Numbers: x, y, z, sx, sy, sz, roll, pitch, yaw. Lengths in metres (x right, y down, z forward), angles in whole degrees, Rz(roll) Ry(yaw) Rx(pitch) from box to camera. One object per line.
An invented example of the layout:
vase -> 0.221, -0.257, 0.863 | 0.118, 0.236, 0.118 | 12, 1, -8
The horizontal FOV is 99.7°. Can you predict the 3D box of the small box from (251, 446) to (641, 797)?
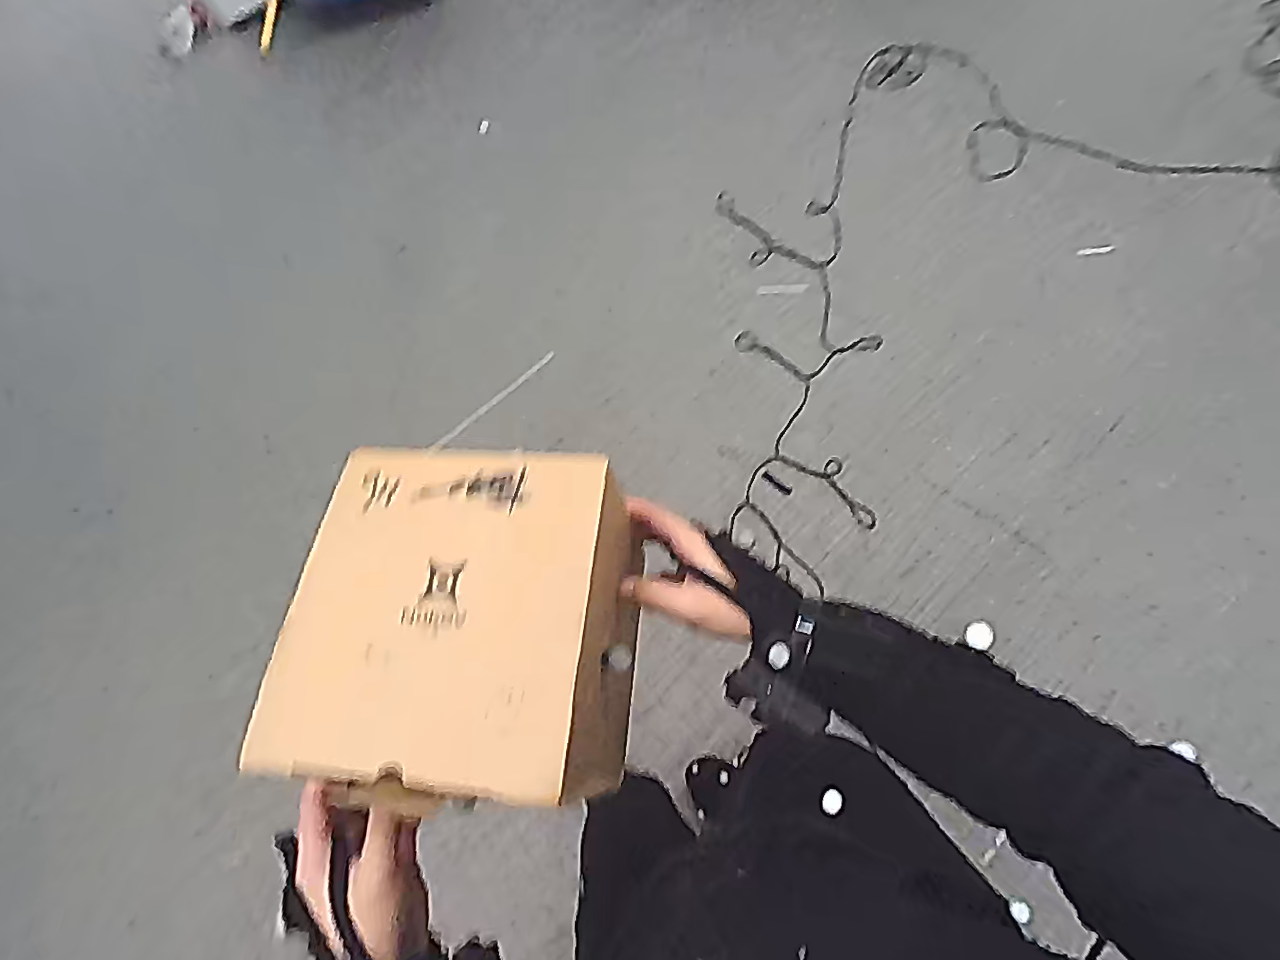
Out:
small box -> -0.097, 0.094, 0.363 | 0.168, 0.176, 0.179 | 2, 65, 10
